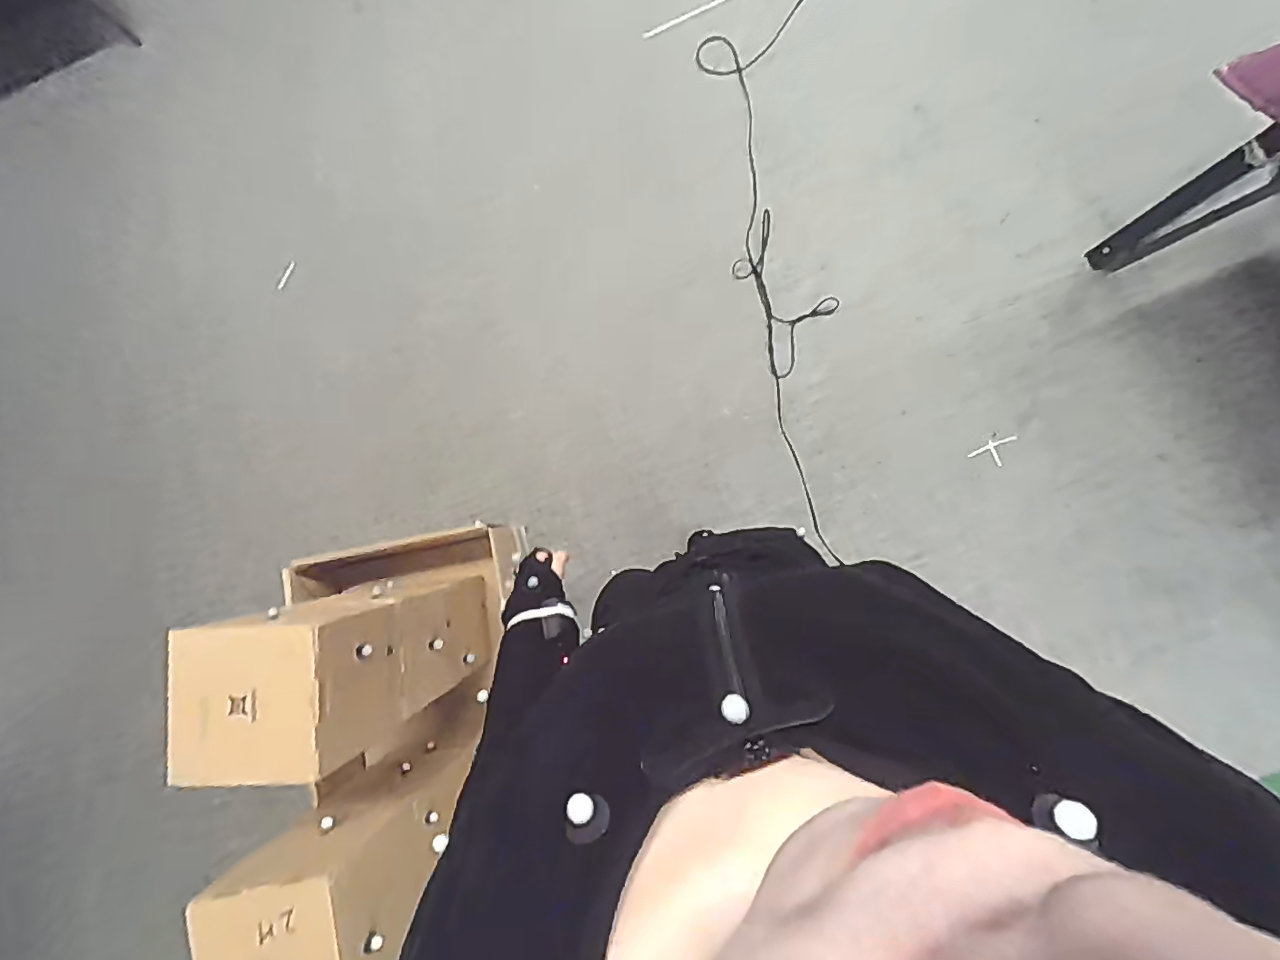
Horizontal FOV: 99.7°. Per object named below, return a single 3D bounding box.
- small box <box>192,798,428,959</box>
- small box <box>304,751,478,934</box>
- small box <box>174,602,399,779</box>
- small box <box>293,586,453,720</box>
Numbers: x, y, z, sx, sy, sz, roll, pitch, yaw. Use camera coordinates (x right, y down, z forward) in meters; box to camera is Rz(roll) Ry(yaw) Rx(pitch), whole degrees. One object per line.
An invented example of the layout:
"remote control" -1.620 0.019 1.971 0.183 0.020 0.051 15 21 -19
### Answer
"small box" -0.375 0.518 0.642 0.168 0.176 0.179 -13 83 5
"small box" -0.358 0.536 0.806 0.168 0.176 0.179 -12 83 5
"small box" -0.418 0.246 0.668 0.179 0.176 0.168 -4 85 7
"small box" -0.400 0.258 0.830 0.179 0.176 0.168 -5 85 5
